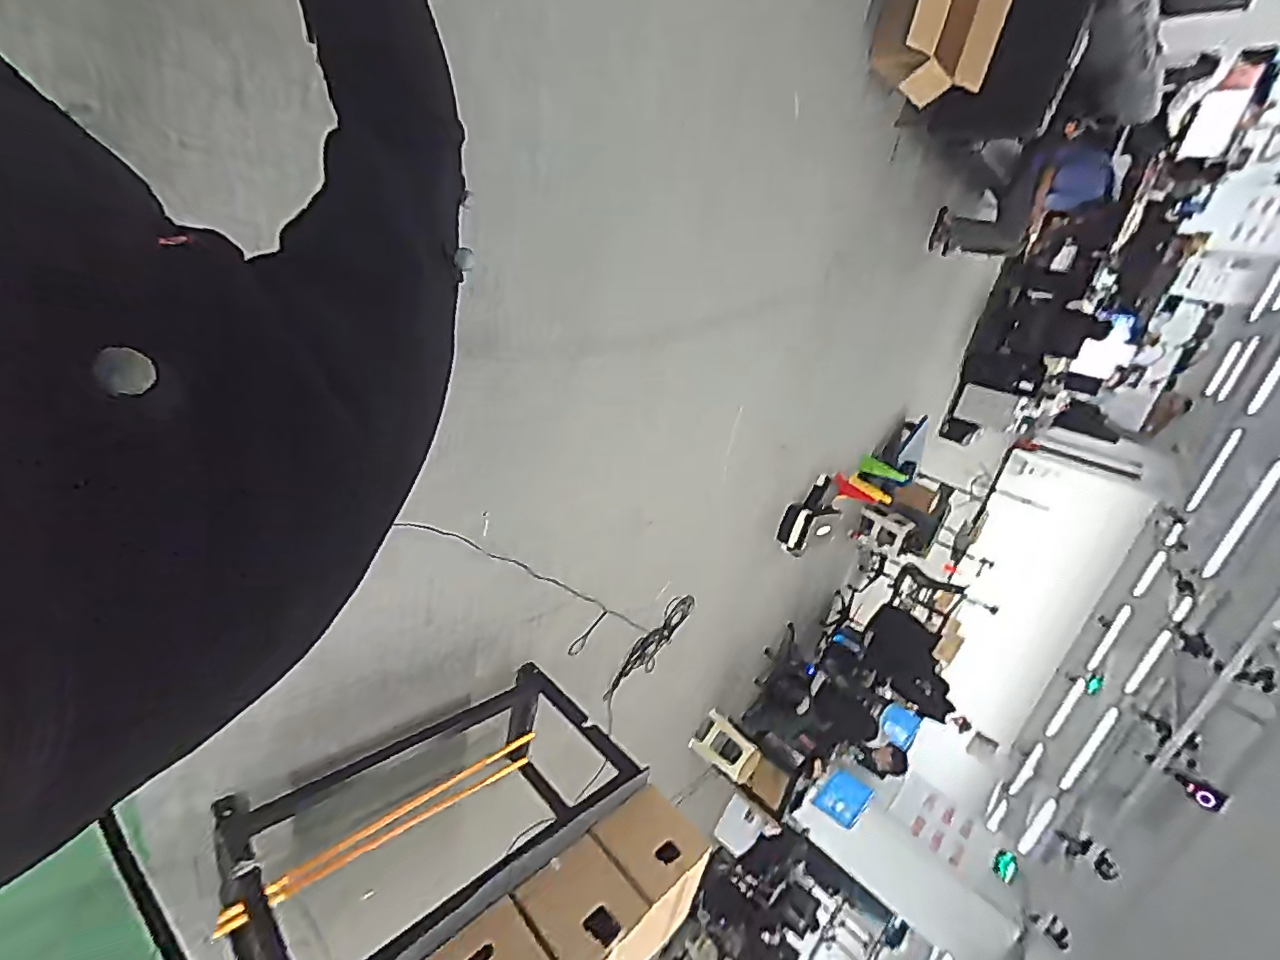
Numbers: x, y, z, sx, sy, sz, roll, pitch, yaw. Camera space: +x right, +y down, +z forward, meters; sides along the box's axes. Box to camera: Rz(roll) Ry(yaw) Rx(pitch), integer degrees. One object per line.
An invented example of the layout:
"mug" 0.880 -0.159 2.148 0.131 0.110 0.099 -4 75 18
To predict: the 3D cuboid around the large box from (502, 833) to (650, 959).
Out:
"large box" -0.212 1.445 1.705 0.320 0.320 0.408 -12 121 -46
